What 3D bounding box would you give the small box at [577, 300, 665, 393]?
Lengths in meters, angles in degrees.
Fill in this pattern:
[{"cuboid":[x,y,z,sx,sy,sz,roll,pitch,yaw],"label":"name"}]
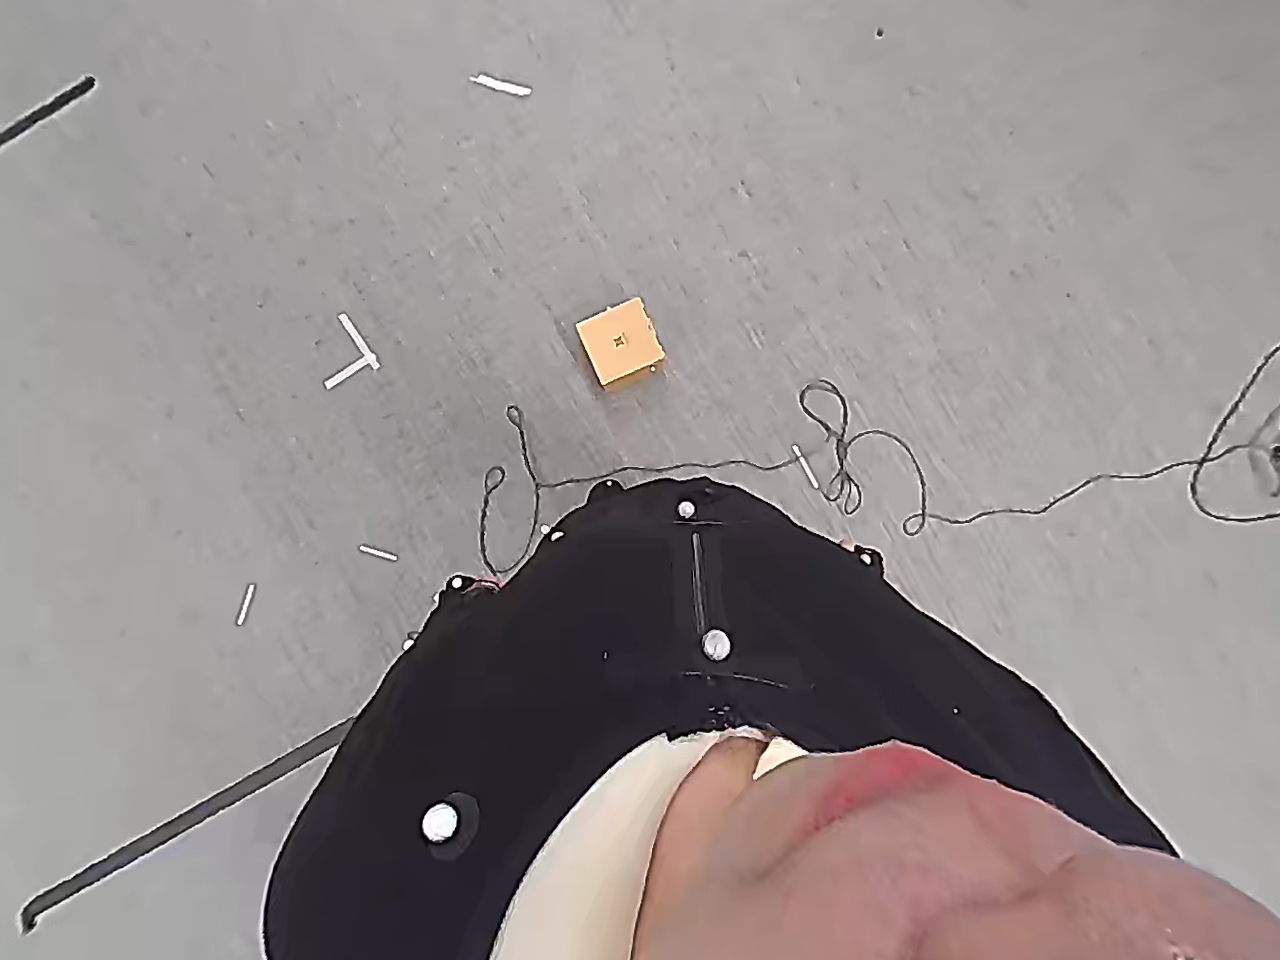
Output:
[{"cuboid":[-0.045,-0.340,1.415,0.179,0.176,0.168,-25,92,0],"label":"small box"}]
